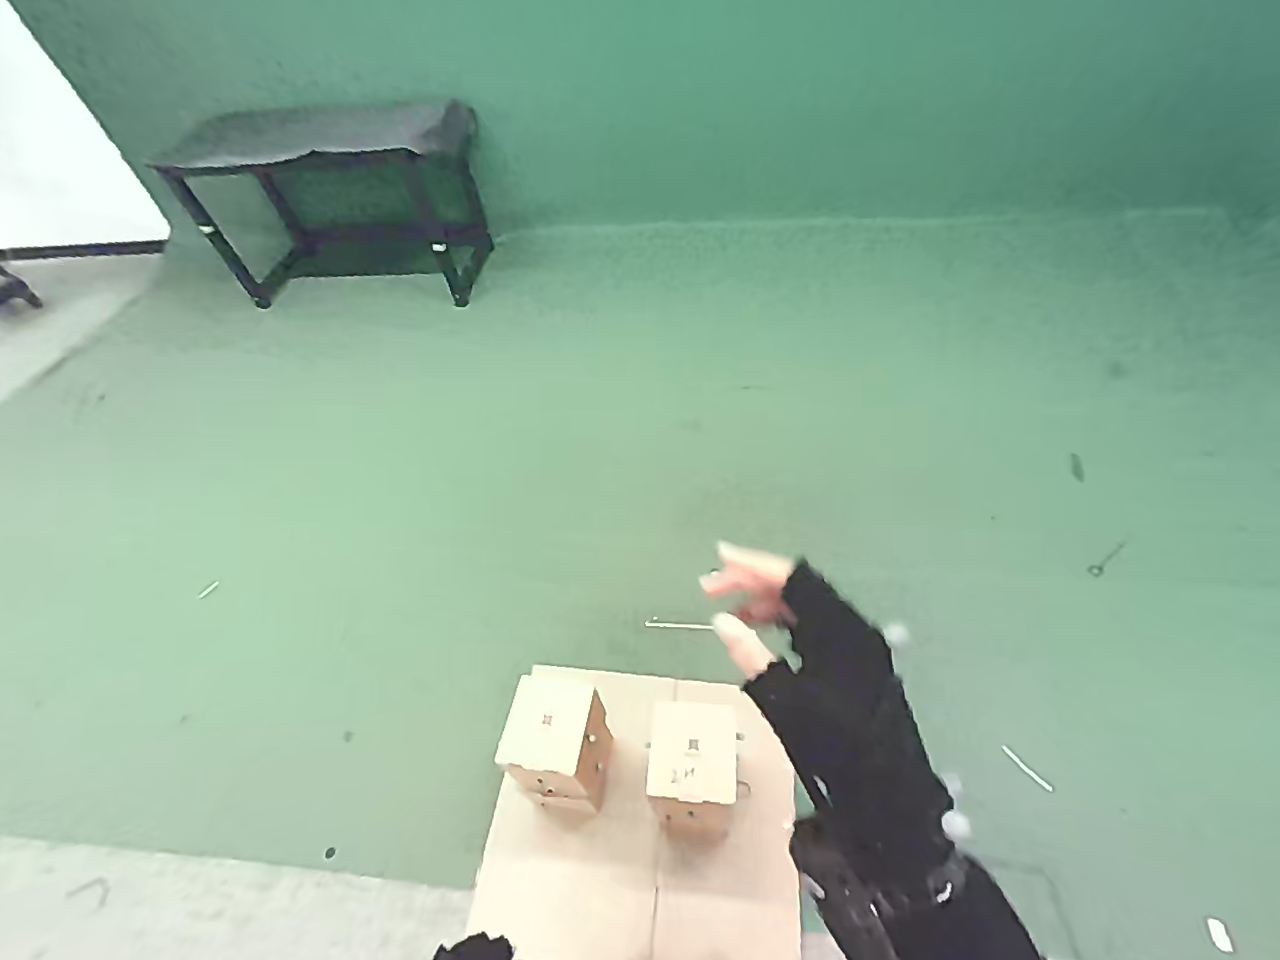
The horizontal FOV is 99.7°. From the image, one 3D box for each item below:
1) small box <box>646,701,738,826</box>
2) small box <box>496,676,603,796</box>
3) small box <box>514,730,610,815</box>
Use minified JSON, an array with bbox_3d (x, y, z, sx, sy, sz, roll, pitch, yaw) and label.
[{"bbox_3d":[0.108,0.569,1.085,0.168,0.176,0.179,2,49,9],"label":"small box"},{"bbox_3d":[-0.179,0.543,1.144,0.168,0.176,0.179,4,50,11],"label":"small box"},{"bbox_3d":[-0.171,0.658,1.259,0.168,0.176,0.179,3,49,10],"label":"small box"}]
